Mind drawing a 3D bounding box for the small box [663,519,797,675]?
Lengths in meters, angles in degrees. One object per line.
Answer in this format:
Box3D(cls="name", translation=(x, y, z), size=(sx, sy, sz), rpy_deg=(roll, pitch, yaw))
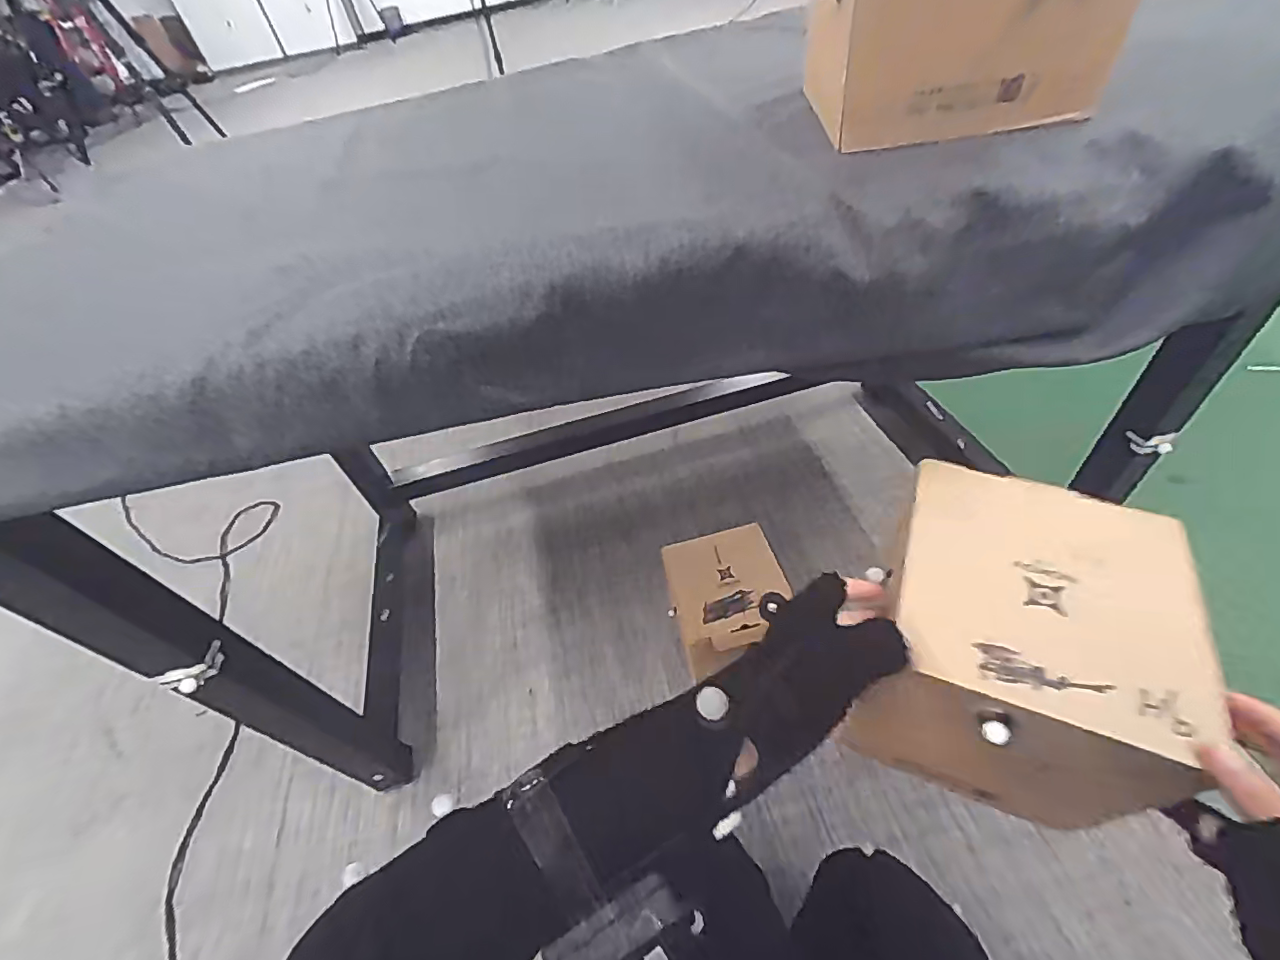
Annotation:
Box3D(cls="small box", translation=(0.144, 0.197, 0.878), size=(0.168, 0.176, 0.179), rpy_deg=(-14, 46, -1))
